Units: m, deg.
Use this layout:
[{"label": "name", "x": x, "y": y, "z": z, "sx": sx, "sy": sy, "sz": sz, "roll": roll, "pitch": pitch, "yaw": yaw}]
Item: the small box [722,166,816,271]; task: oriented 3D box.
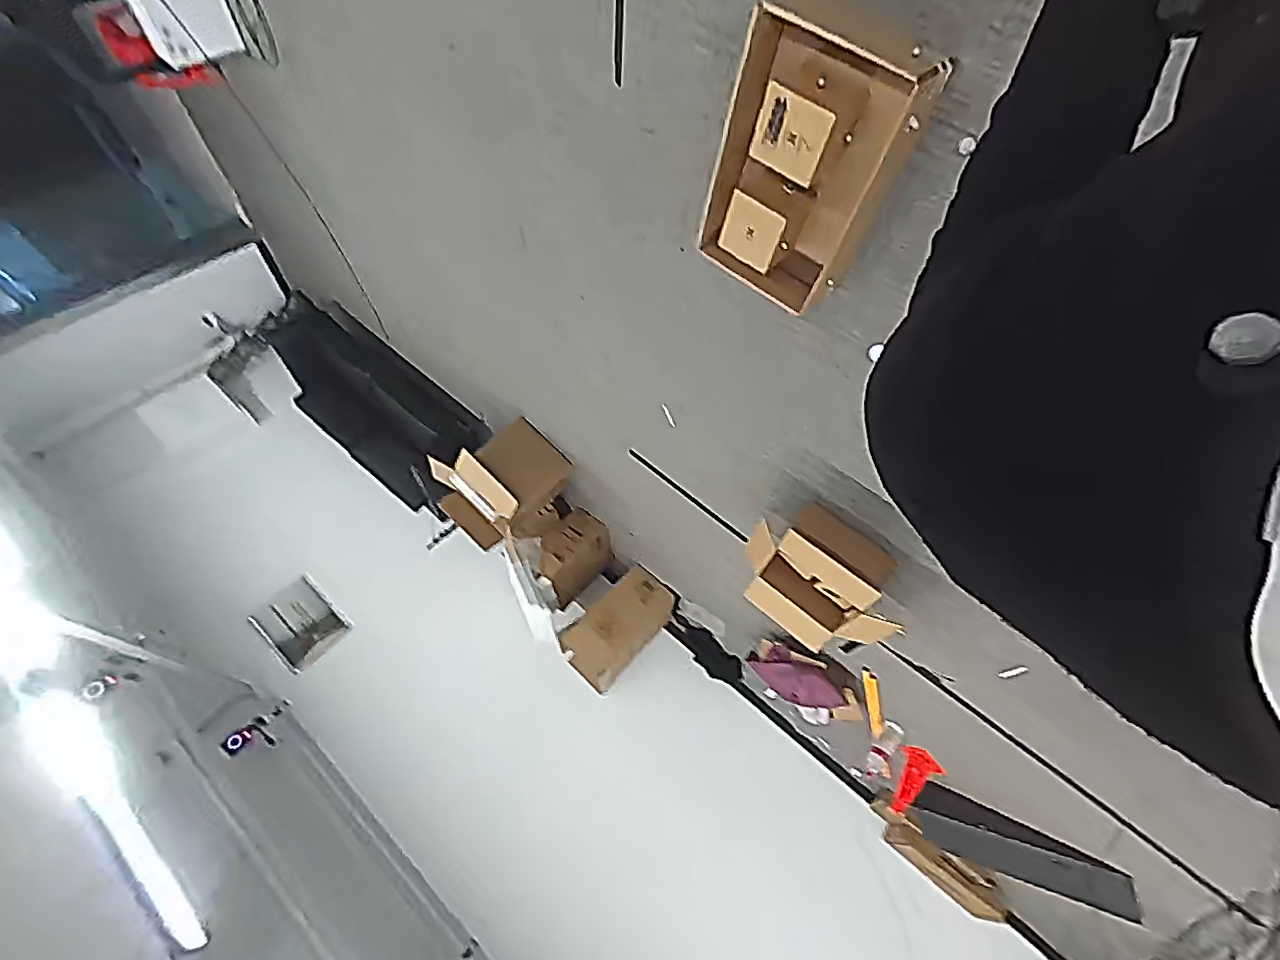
[{"label": "small box", "x": 0.357, "y": -0.724, "z": 1.497, "sx": 0.168, "sy": 0.176, "sz": 0.179, "roll": 37, "pitch": 151, "yaw": 13}]
